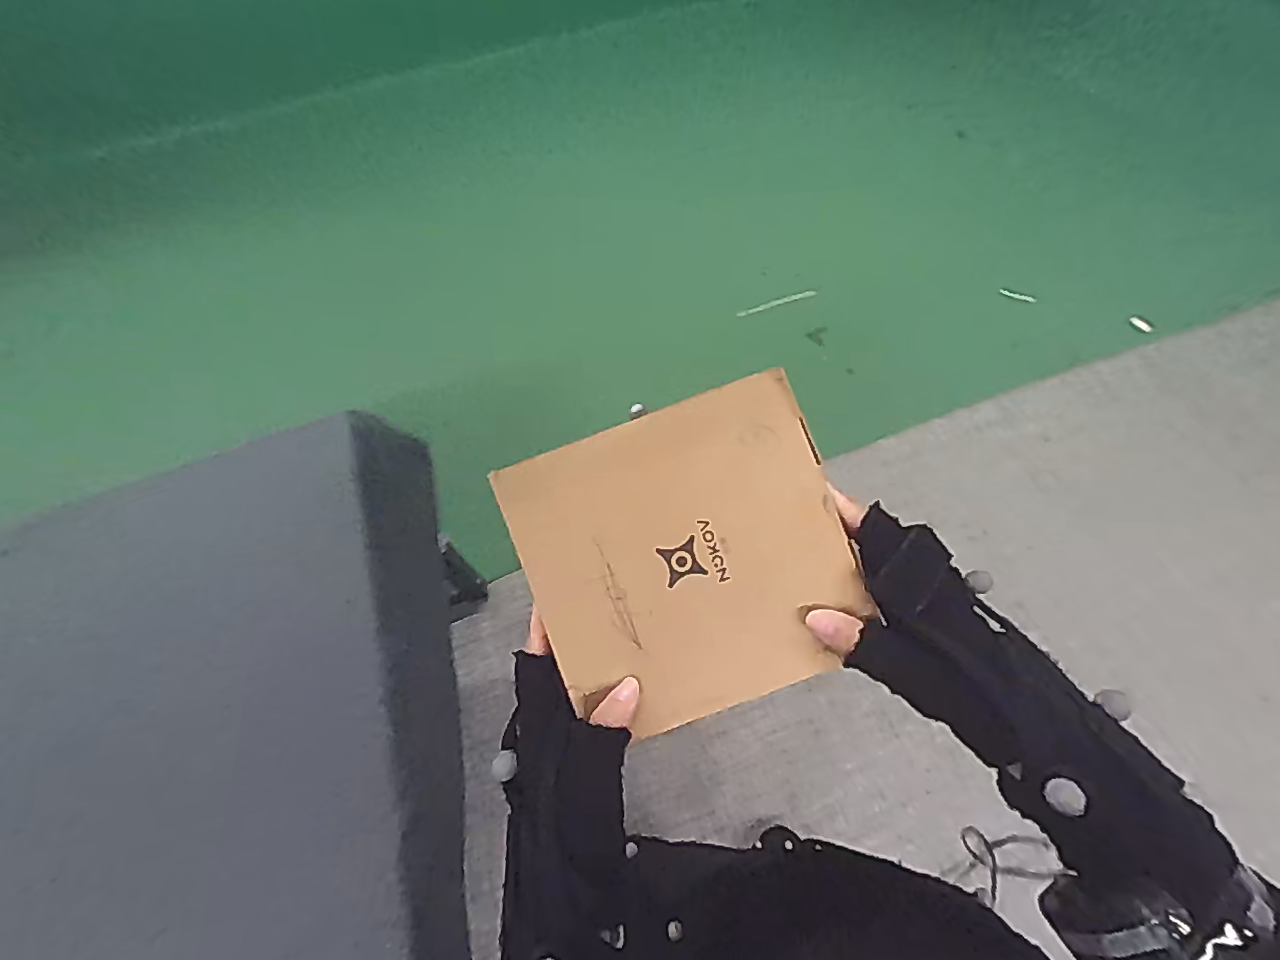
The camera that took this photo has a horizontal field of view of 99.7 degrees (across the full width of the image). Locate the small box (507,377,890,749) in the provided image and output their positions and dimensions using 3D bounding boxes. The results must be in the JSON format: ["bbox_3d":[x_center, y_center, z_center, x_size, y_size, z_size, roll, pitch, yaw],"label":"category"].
[{"bbox_3d":[0.034,0.048,0.382,0.179,0.176,0.168,-21,86,2],"label":"small box"}]
